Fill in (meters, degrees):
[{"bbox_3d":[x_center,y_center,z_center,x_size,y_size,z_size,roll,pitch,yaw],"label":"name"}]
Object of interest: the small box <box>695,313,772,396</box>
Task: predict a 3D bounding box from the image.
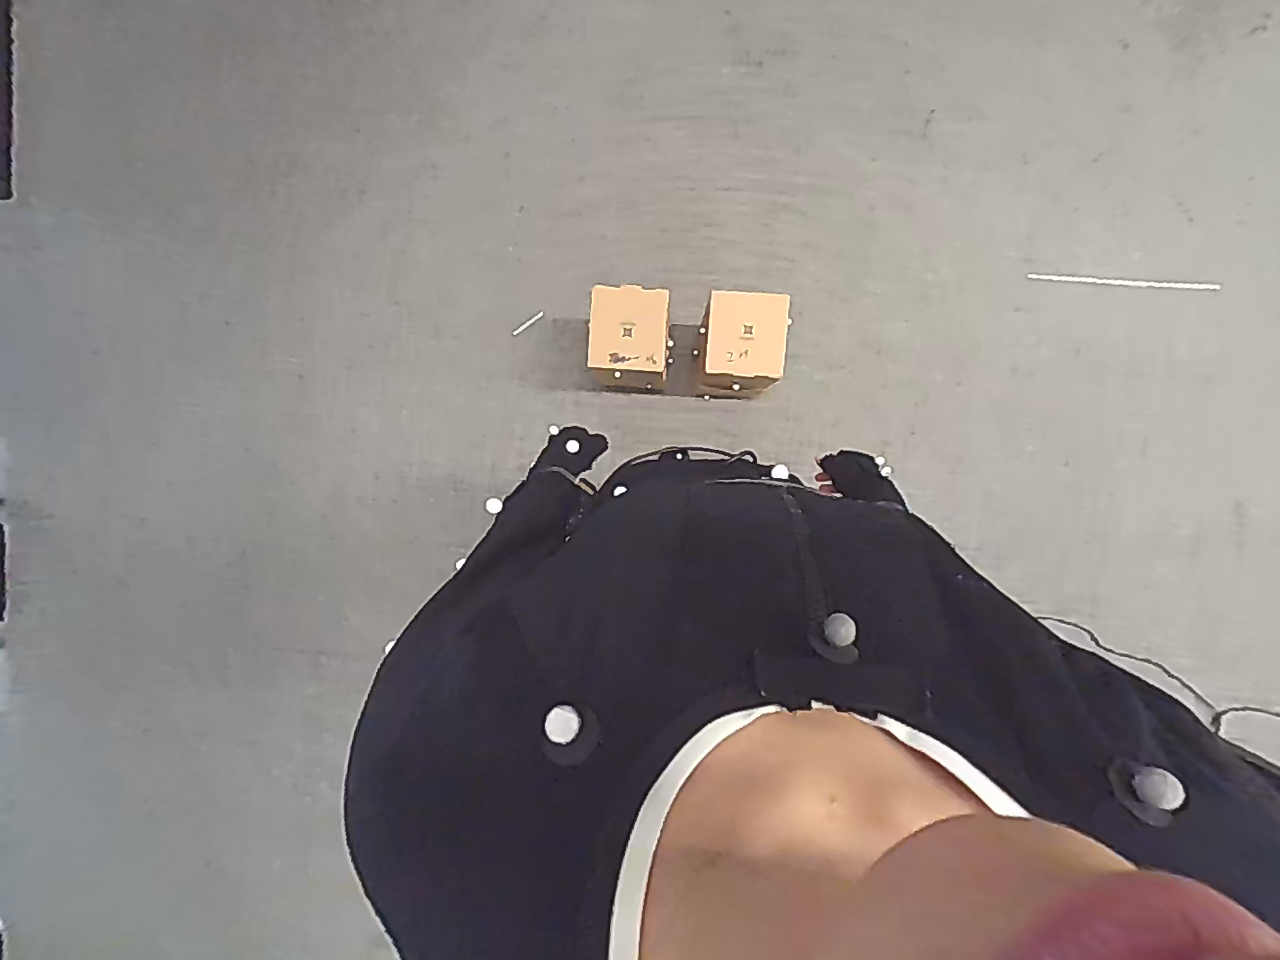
[{"bbox_3d":[0.230,-0.311,1.371,0.168,0.176,0.179,4,92,2],"label":"small box"}]
